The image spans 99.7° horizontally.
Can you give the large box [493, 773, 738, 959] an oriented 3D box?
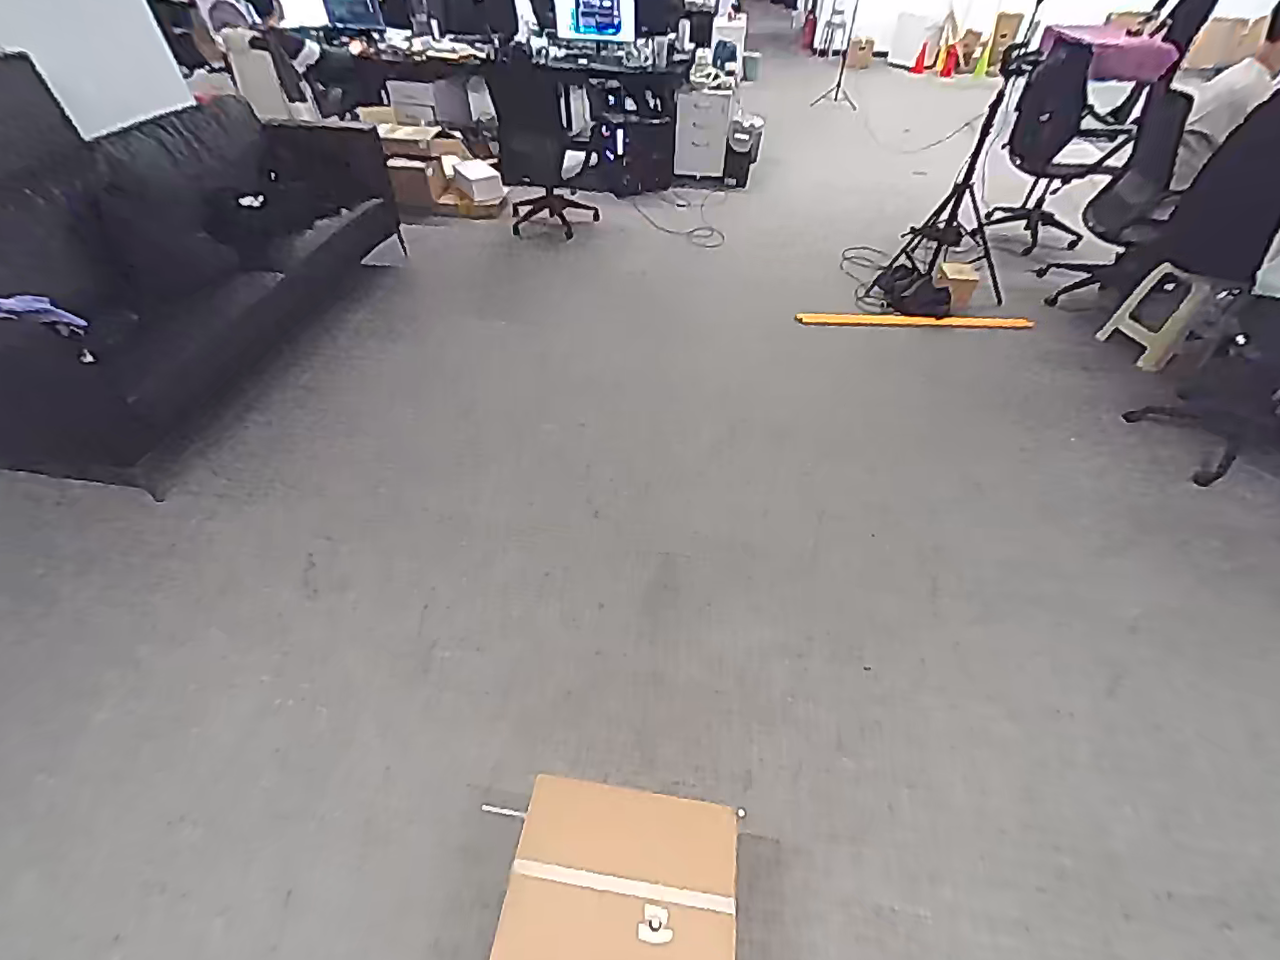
[{"bbox_3d":[-0.031,0.823,1.070,0.408,0.320,0.320,7,46,6],"label":"large box"}]
